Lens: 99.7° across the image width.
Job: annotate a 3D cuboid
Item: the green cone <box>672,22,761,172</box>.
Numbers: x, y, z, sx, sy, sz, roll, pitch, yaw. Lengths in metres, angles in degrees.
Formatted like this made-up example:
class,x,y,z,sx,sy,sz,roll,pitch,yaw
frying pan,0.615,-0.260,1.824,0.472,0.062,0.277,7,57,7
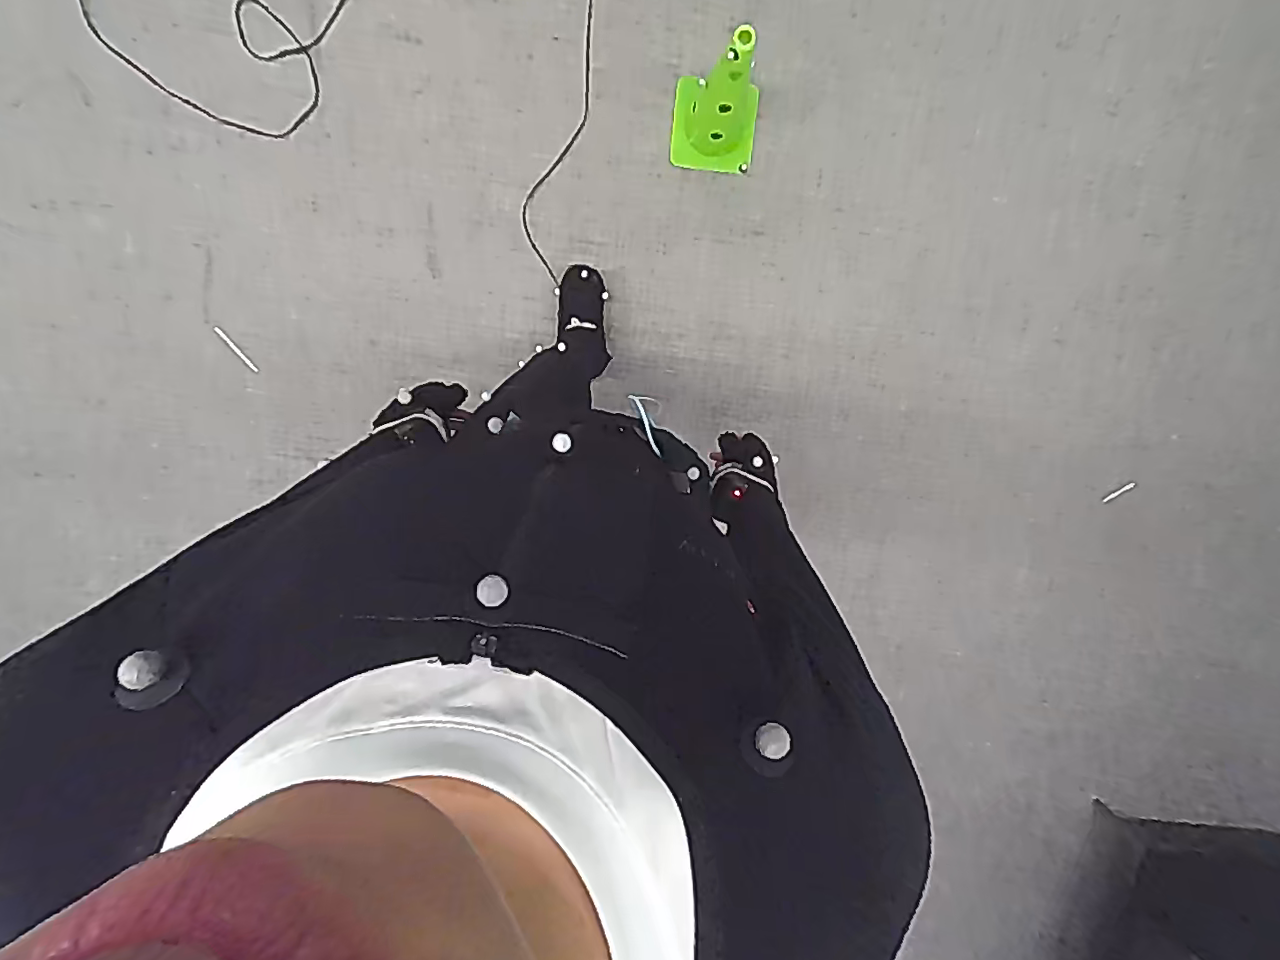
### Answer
class,x,y,z,sx,sy,sz,roll,pitch,yaw
green cone,0.185,-0.832,1.141,0.202,0.368,0.200,6,100,-1
